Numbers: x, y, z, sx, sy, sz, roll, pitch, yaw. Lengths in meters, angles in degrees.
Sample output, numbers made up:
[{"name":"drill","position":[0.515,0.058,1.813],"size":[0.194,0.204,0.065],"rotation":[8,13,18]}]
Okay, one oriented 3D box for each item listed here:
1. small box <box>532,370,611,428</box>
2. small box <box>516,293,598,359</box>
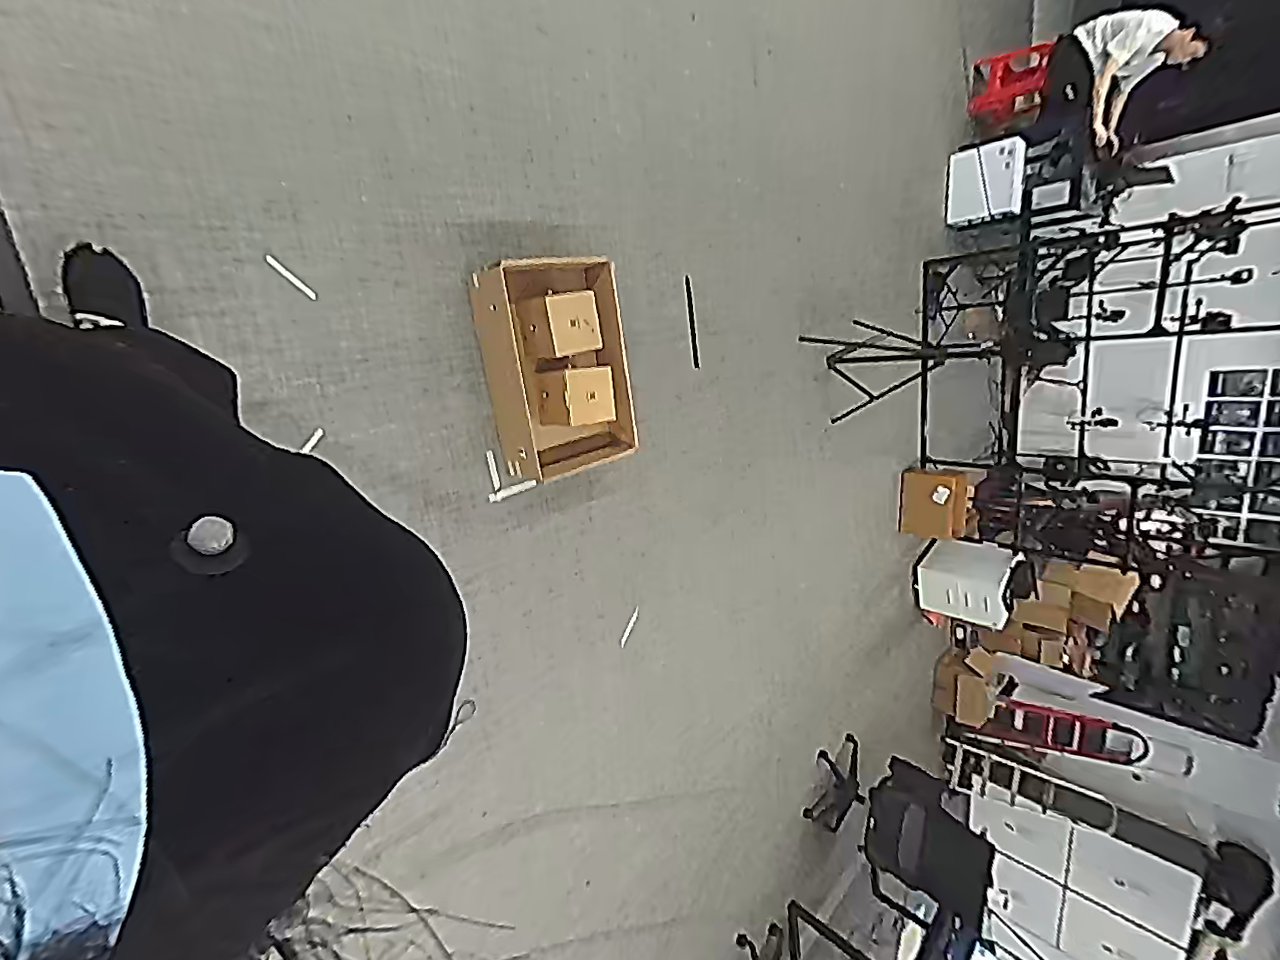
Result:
[{"name":"small box","position":[-0.214,-0.257,1.689],"size":[0.179,0.176,0.168],"rotation":[-15,106,-41]},{"name":"small box","position":[-0.253,-0.458,1.615],"size":[0.179,0.176,0.168],"rotation":[-24,114,-39]}]
